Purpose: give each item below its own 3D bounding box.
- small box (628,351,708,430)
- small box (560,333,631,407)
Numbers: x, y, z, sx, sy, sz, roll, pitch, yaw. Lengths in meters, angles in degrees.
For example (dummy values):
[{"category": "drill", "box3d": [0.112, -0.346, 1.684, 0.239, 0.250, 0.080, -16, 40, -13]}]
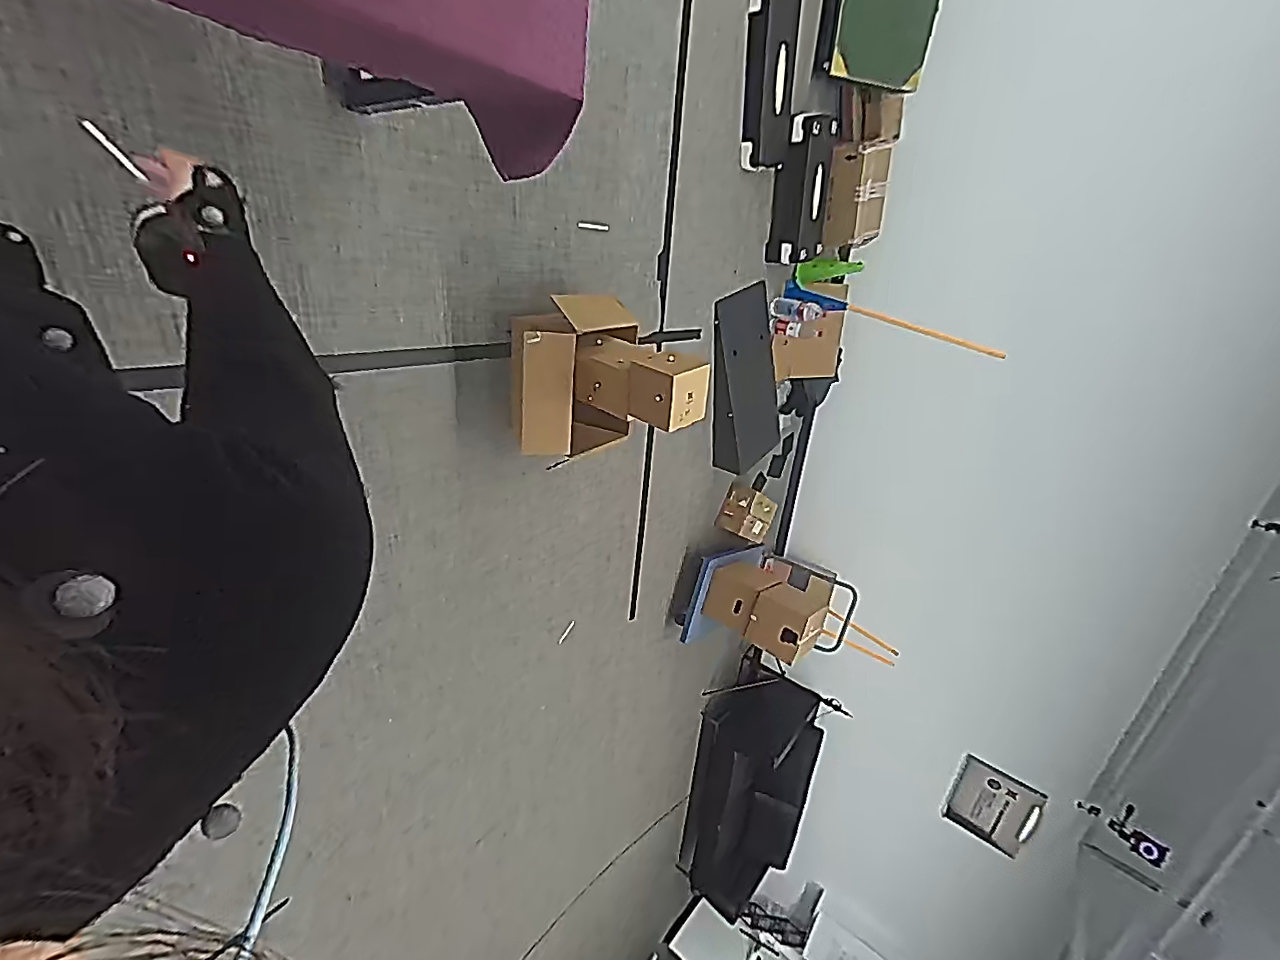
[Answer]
[{"category": "small box", "box3d": [0.079, -0.273, 1.597, 0.168, 0.176, 0.179, -26, 132, -39]}, {"category": "small box", "box3d": [-0.149, -0.378, 1.813, 0.168, 0.176, 0.179, -39, 140, -30]}]
